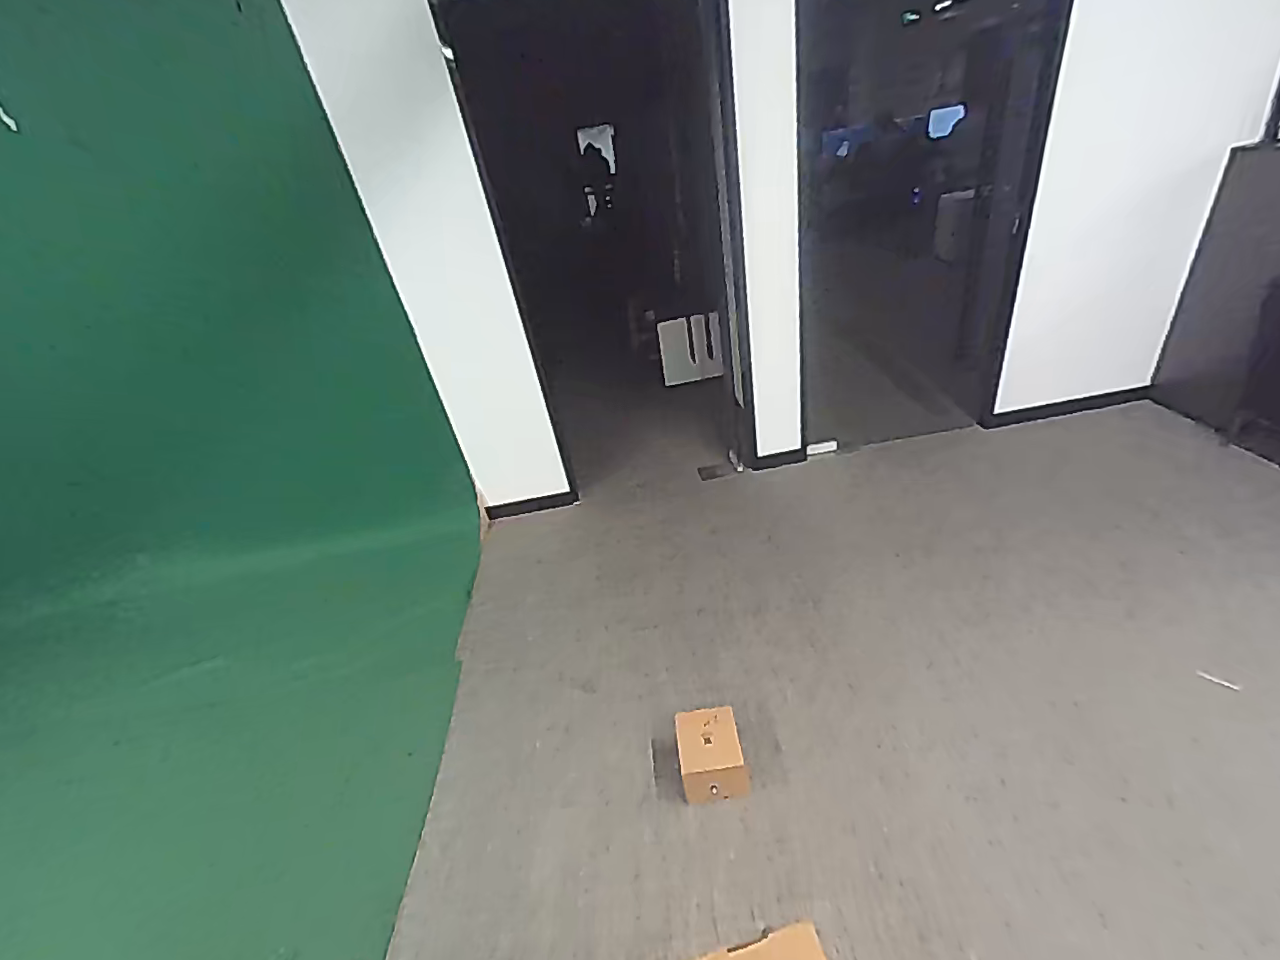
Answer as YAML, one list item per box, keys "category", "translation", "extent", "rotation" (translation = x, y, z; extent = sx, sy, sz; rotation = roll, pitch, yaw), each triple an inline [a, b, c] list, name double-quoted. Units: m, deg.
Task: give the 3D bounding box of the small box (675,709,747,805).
- category: "small box"
  translation: [0.195, 0.770, 1.493]
  extent: [0.168, 0.176, 0.179]
  rotation: [-9, 32, 3]
